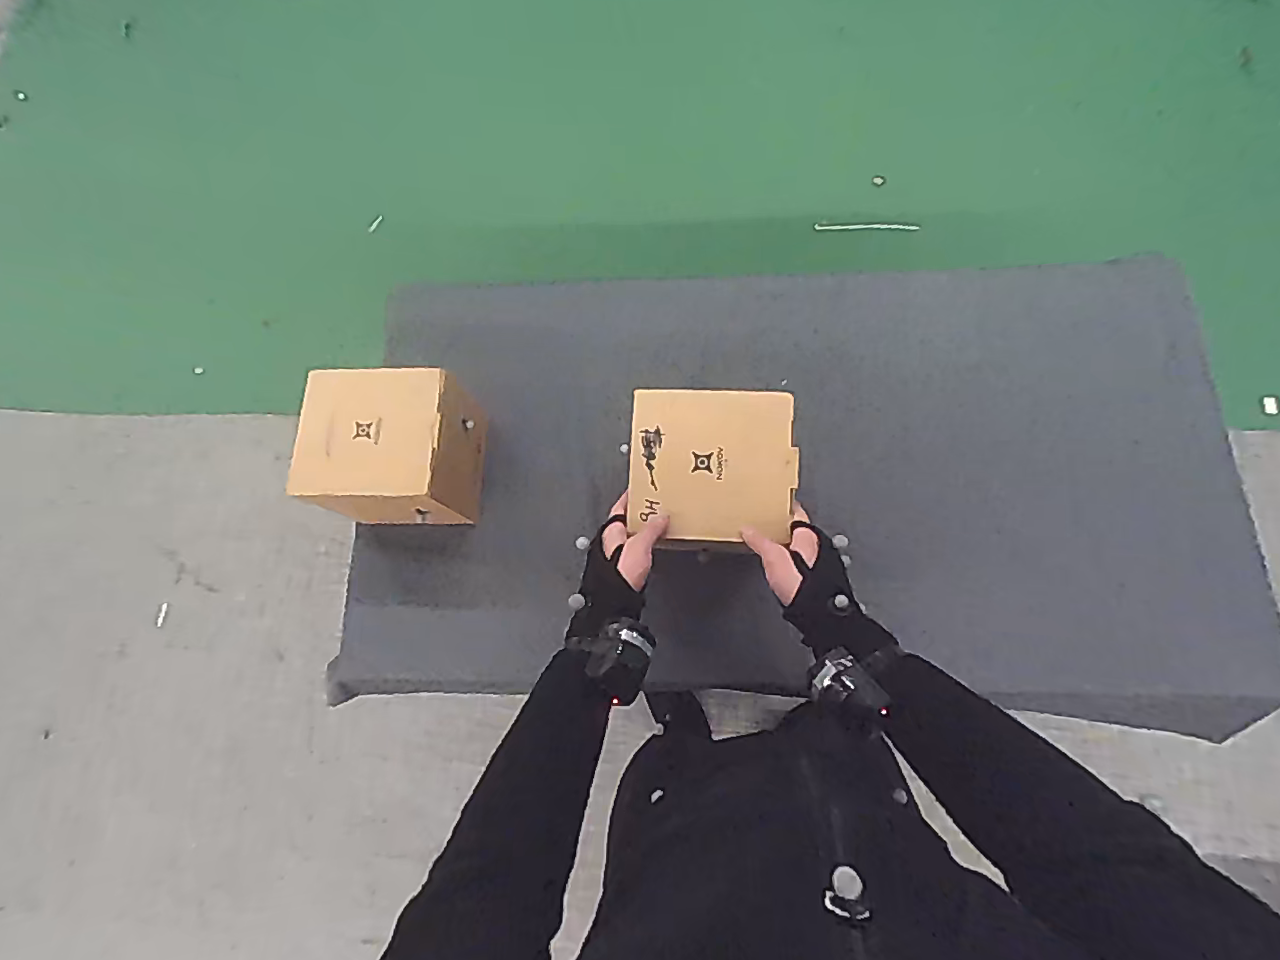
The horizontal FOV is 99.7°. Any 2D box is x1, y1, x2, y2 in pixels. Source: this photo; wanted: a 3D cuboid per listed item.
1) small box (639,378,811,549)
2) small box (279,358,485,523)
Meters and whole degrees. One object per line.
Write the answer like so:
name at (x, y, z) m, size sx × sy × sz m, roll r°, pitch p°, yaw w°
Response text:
small box at (0.092, -0.009, 0.641) m, size 0.179 × 0.176 × 0.168 m, roll 3°, pitch 78°, yaw 3°
small box at (-0.312, -0.042, 0.697) m, size 0.179 × 0.176 × 0.168 m, roll -1°, pitch 72°, yaw 3°
